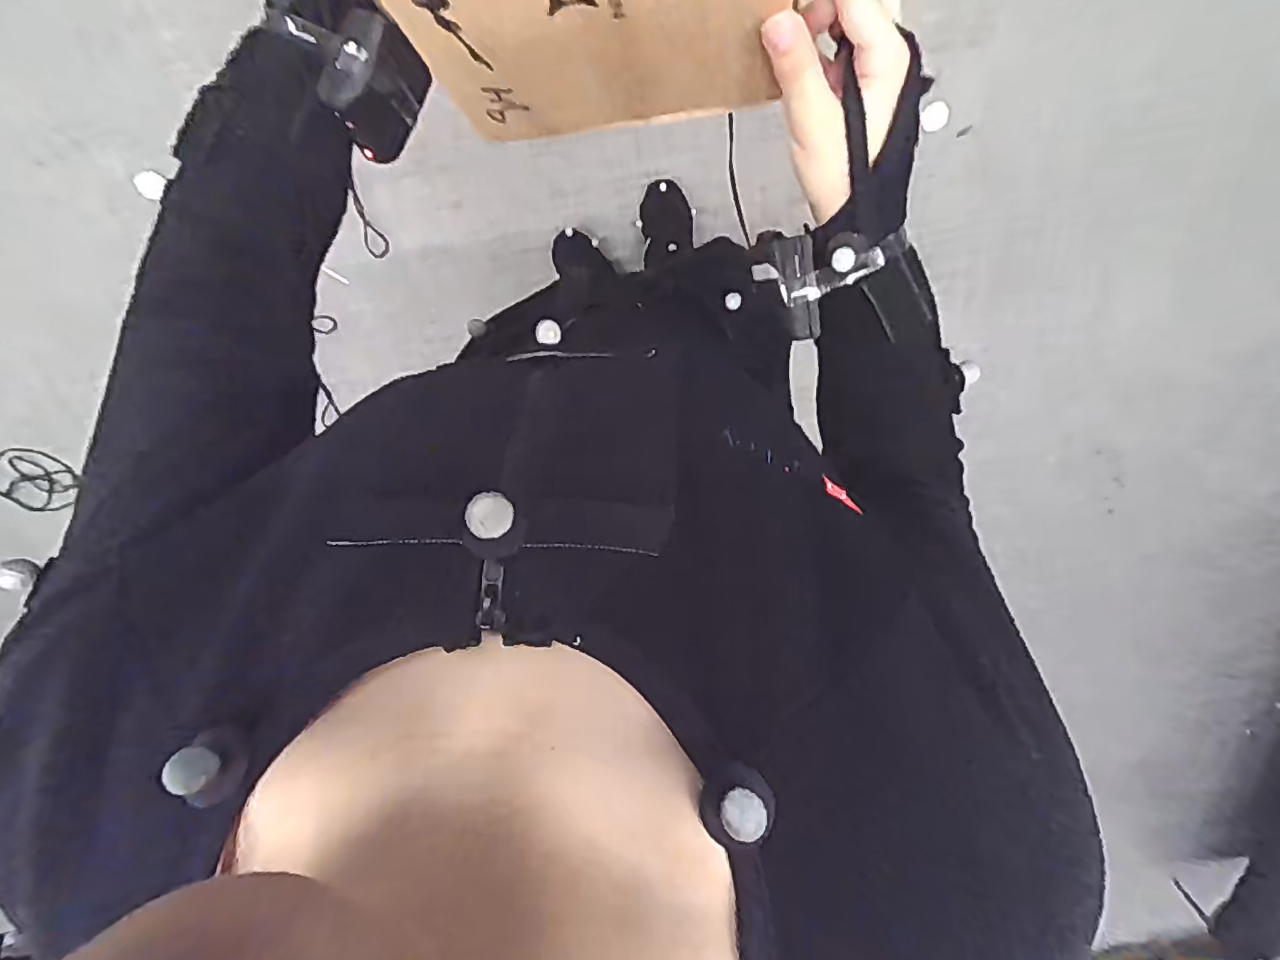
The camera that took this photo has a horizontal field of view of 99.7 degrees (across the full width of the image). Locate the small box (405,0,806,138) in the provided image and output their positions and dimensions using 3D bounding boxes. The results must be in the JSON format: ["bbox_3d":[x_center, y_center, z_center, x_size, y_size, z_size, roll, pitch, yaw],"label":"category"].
[{"bbox_3d":[-0.020,-0.293,0.233,0.179,0.168,0.176,-3,86,10],"label":"small box"}]
